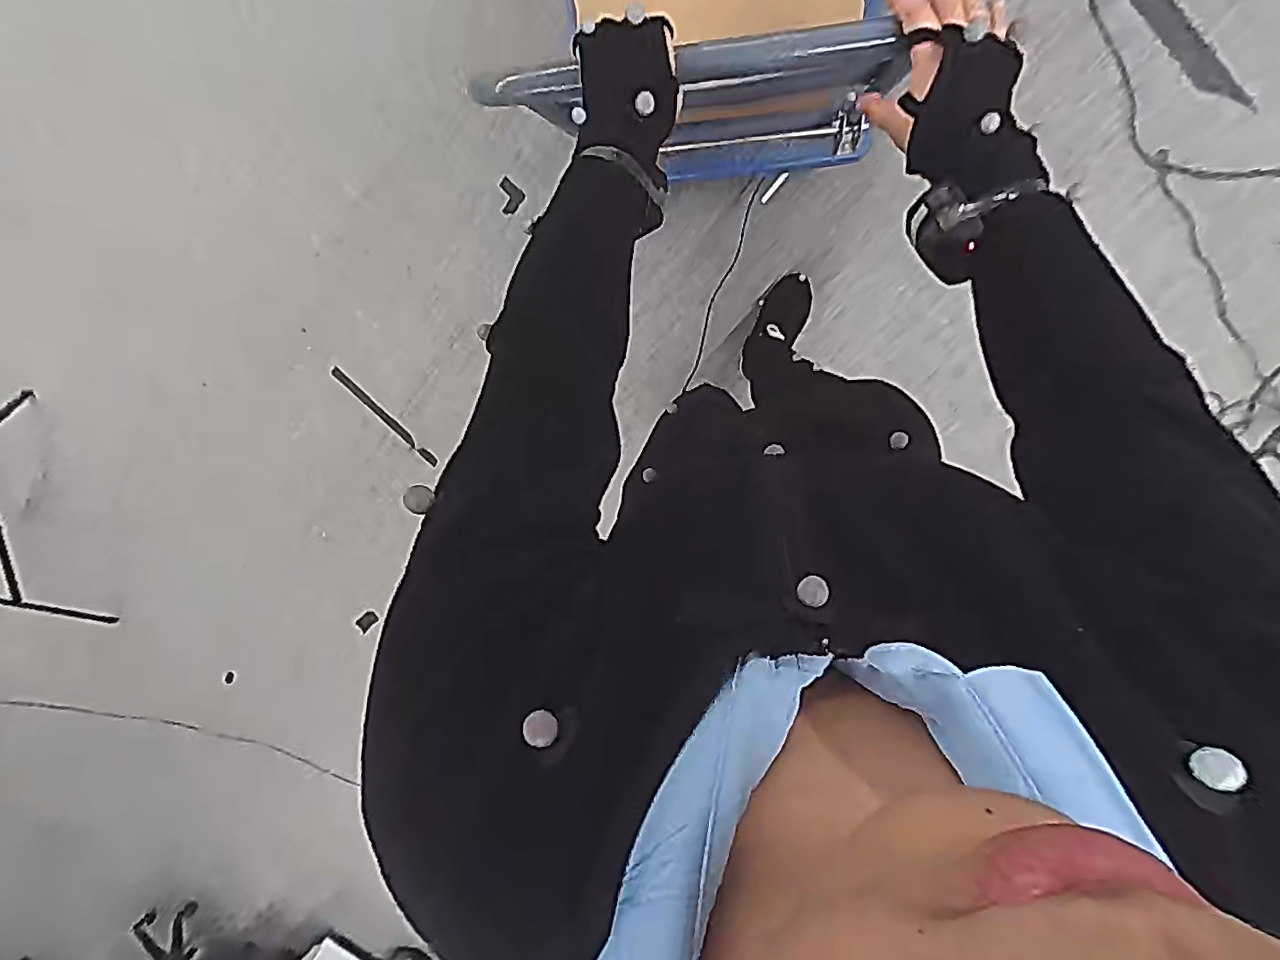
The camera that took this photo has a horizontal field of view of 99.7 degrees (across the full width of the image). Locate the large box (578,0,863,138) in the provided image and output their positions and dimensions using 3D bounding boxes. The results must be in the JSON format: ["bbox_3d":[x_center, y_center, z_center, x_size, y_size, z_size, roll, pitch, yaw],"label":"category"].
[{"bbox_3d":[0.121,-0.785,0.875,0.408,0.320,0.320,-1,112,9],"label":"large box"}]
